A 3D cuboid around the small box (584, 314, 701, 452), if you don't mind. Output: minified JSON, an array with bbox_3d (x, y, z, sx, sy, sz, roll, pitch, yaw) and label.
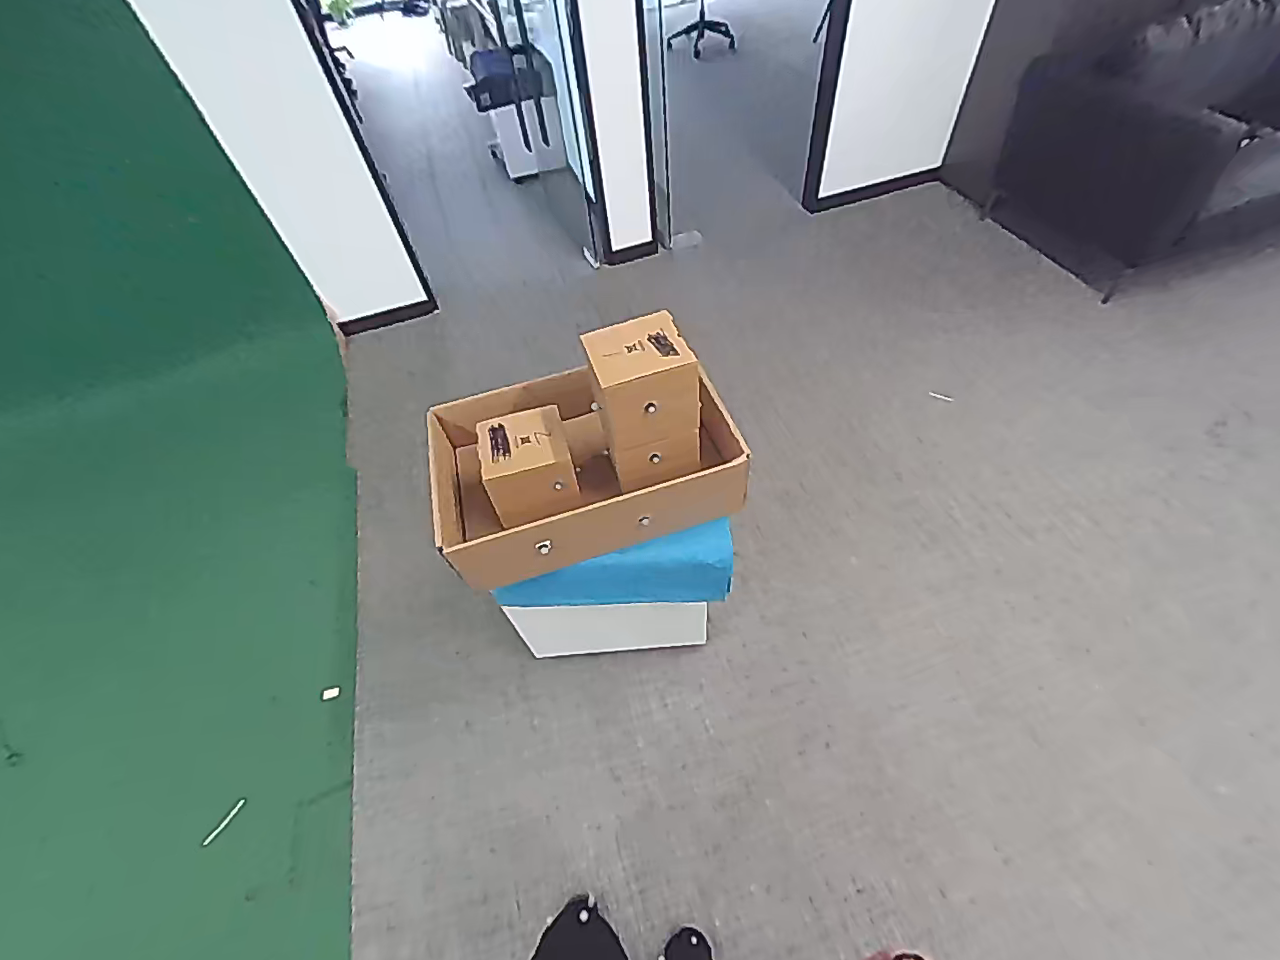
[{"bbox_3d":[0.007,-0.182,1.028,0.179,0.176,0.168,-18,50,-5],"label":"small box"}]
